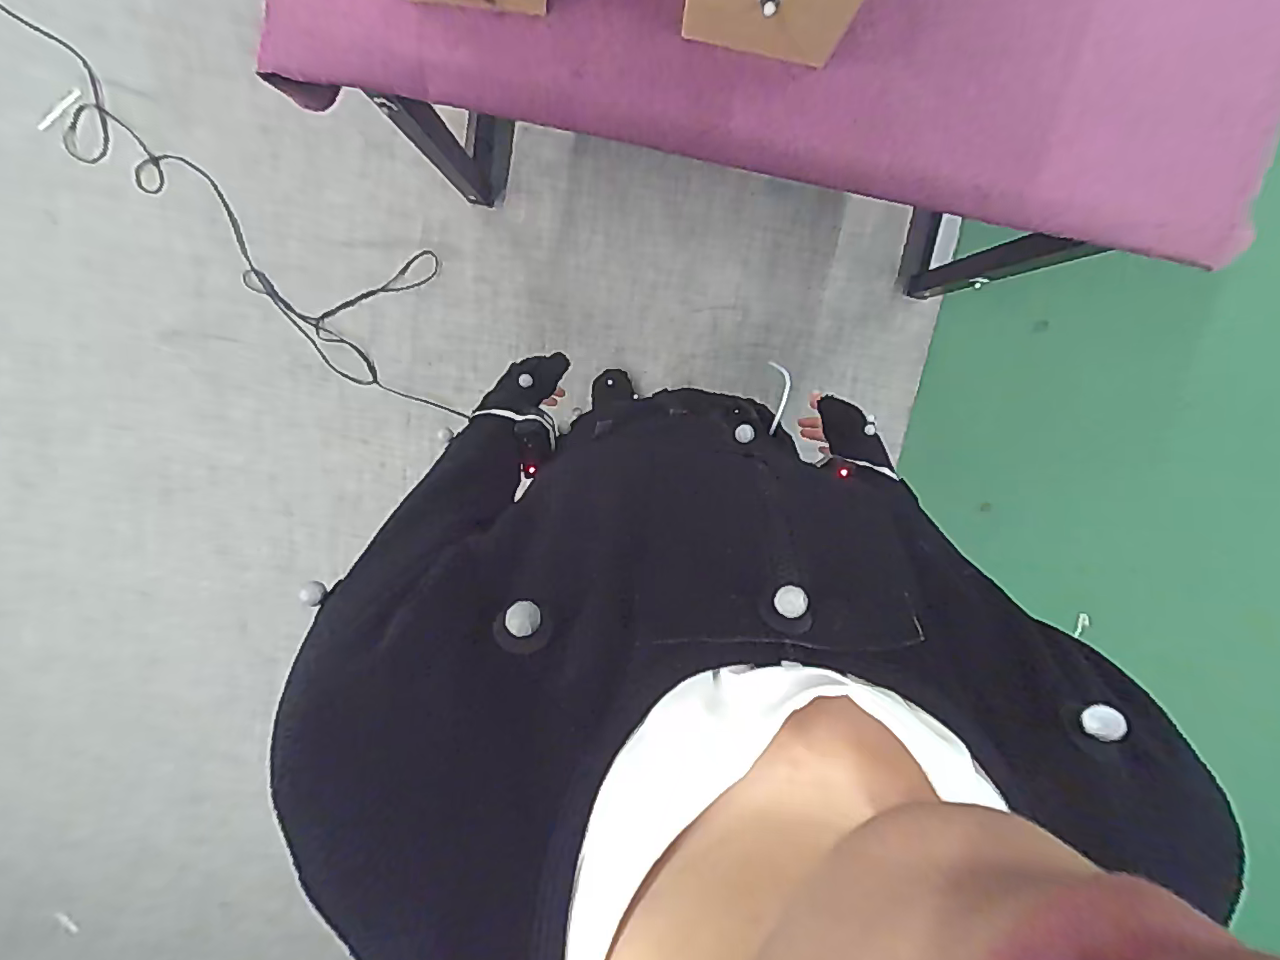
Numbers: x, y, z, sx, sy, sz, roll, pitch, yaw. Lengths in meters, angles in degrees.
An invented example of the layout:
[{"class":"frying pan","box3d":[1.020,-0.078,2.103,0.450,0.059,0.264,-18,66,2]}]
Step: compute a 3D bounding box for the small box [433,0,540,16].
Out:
[{"class":"small box","box3d":[-0.186,-0.620,0.534,0.168,0.176,0.179,5,101,-3]}]
